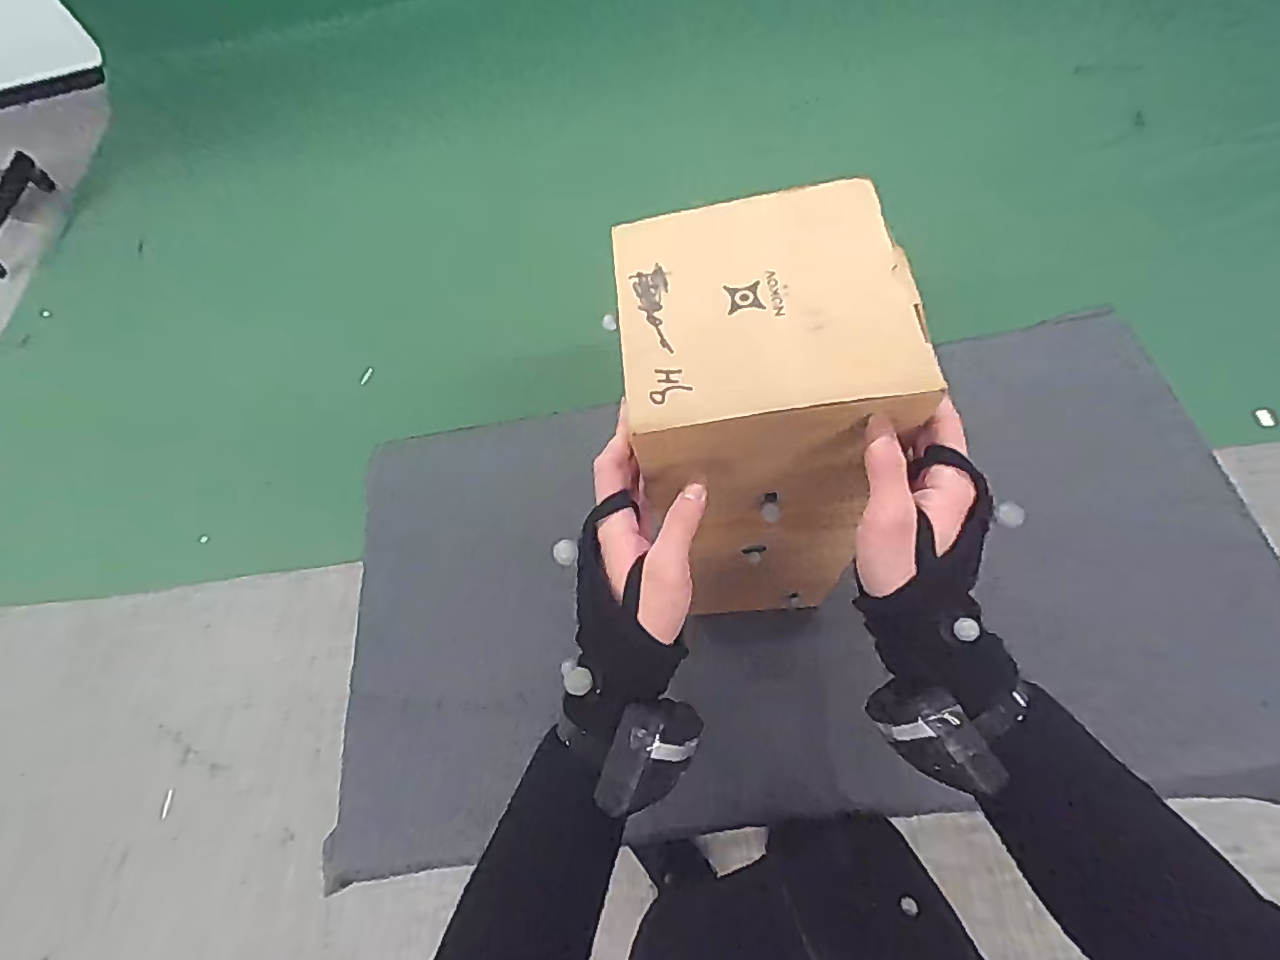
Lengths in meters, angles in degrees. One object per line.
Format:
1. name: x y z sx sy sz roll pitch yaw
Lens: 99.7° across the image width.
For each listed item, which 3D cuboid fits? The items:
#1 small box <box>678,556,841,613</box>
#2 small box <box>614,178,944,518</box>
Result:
1. small box: 0.136 0.067 0.686 0.179 0.176 0.168 -7 64 7
2. small box: 0.081 -0.081 0.397 0.179 0.176 0.168 -6 65 5
